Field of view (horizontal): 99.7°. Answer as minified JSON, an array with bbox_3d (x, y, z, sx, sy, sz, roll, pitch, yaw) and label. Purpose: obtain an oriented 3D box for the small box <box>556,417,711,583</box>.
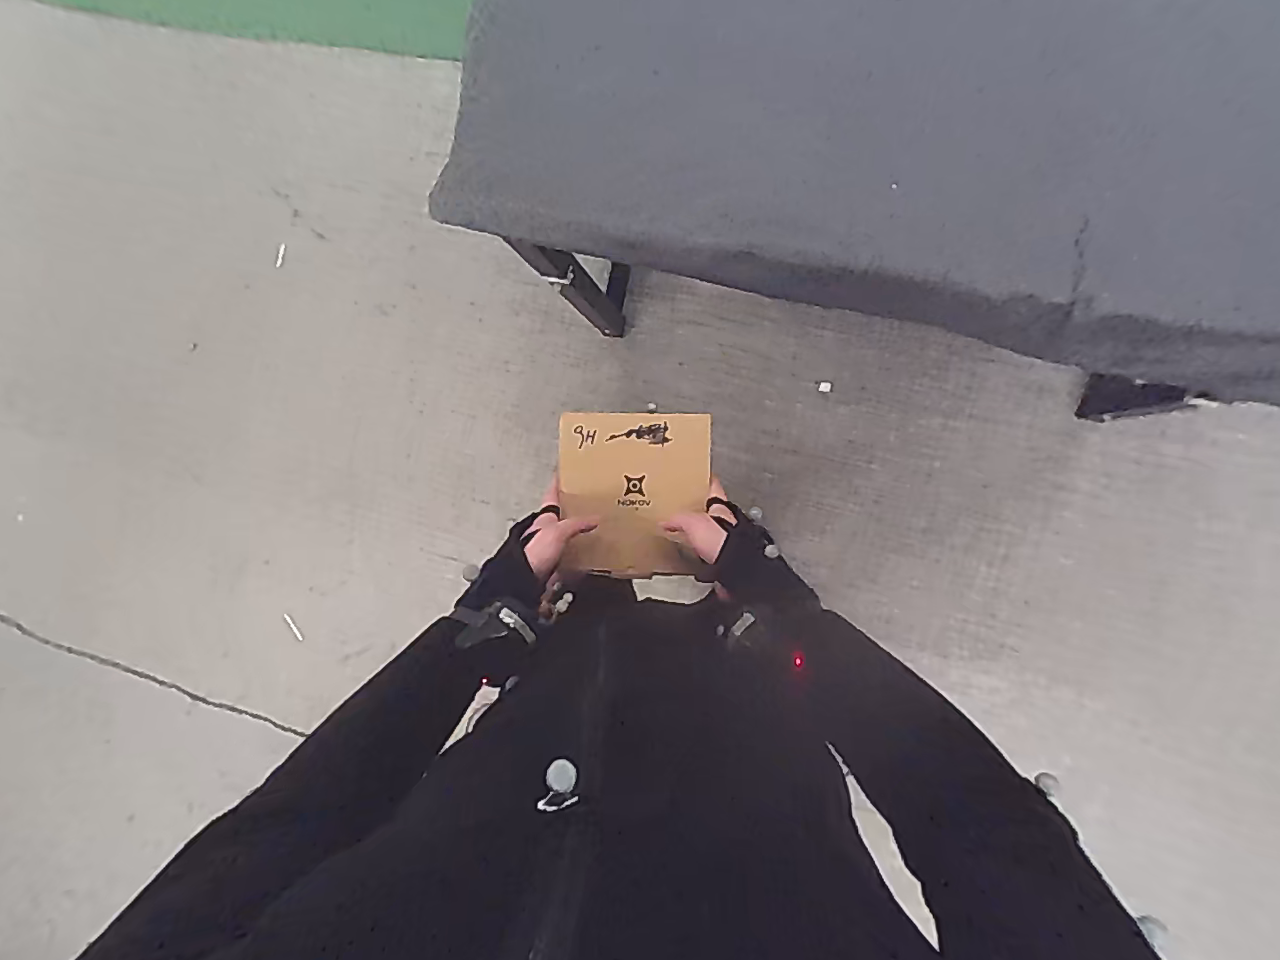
[{"bbox_3d":[-0.002,0.019,0.652,0.168,0.176,0.179,0,91,3],"label":"small box"}]
